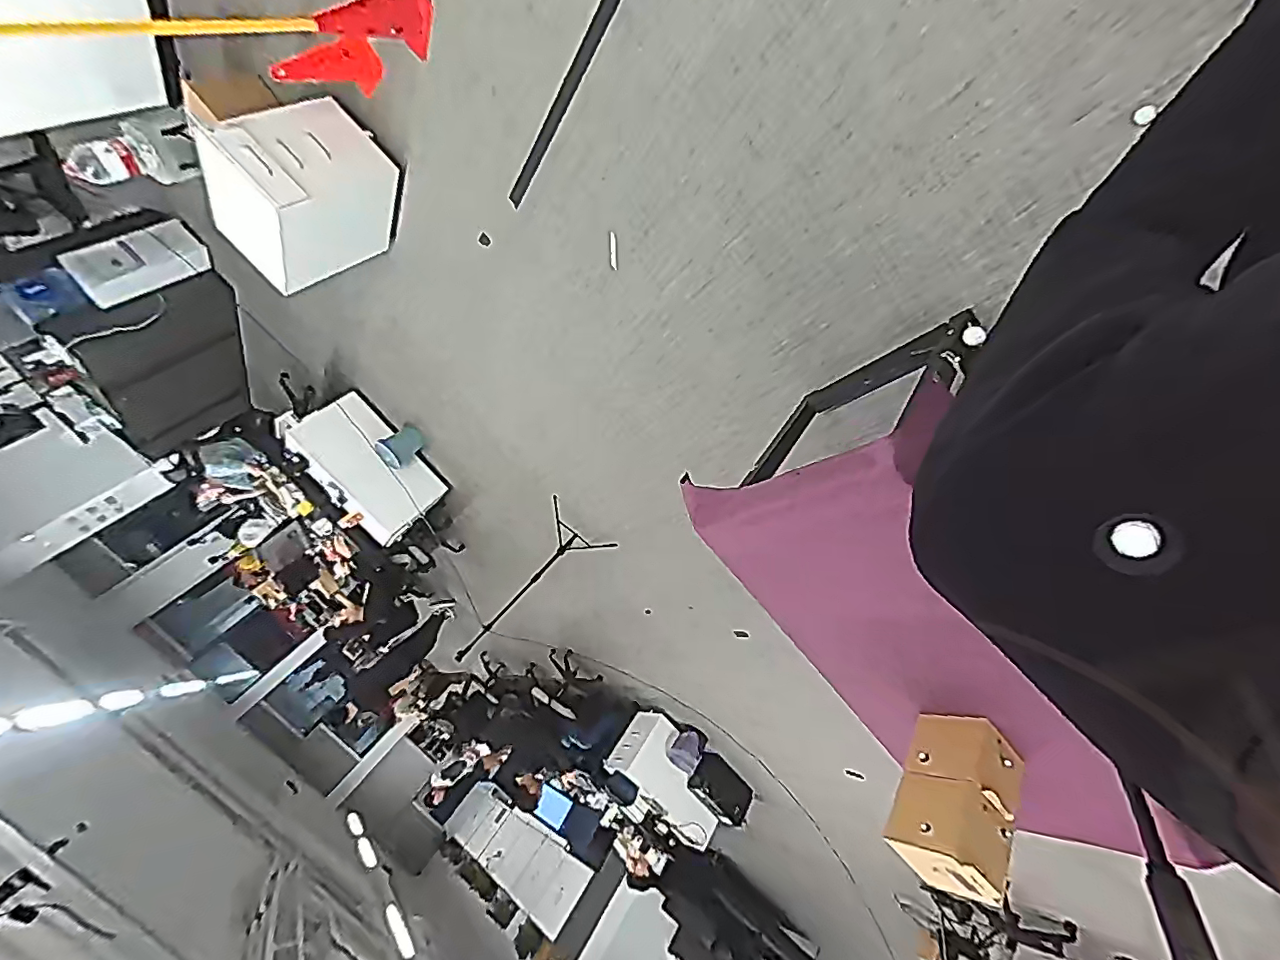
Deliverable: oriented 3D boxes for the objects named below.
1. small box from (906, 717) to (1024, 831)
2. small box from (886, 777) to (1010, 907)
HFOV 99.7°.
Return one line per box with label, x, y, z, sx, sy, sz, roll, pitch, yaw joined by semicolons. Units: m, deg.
small box;0.791;0.702;1.312;0.168;0.176;0.179;48;145;-9
small box;0.700;0.803;1.220;0.168;0.176;0.179;47;146;-5
